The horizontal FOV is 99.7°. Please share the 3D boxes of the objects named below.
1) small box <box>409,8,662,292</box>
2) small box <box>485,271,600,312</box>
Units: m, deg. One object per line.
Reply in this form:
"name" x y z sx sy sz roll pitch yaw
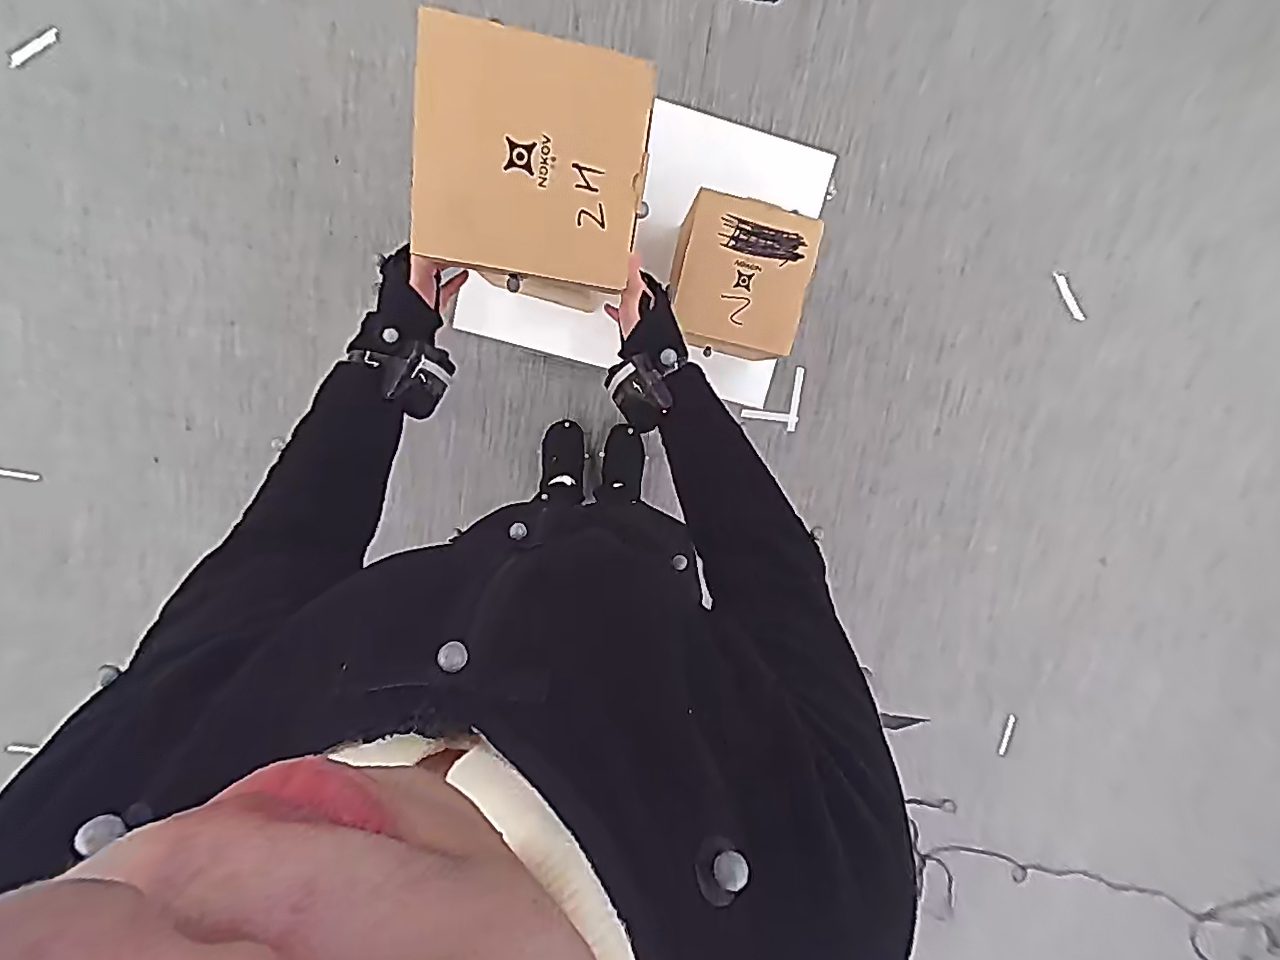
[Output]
"small box" -0.089 -0.268 0.487 0.179 0.176 0.168 8 108 -8
"small box" -0.121 -0.345 0.735 0.168 0.176 0.179 15 98 -6
